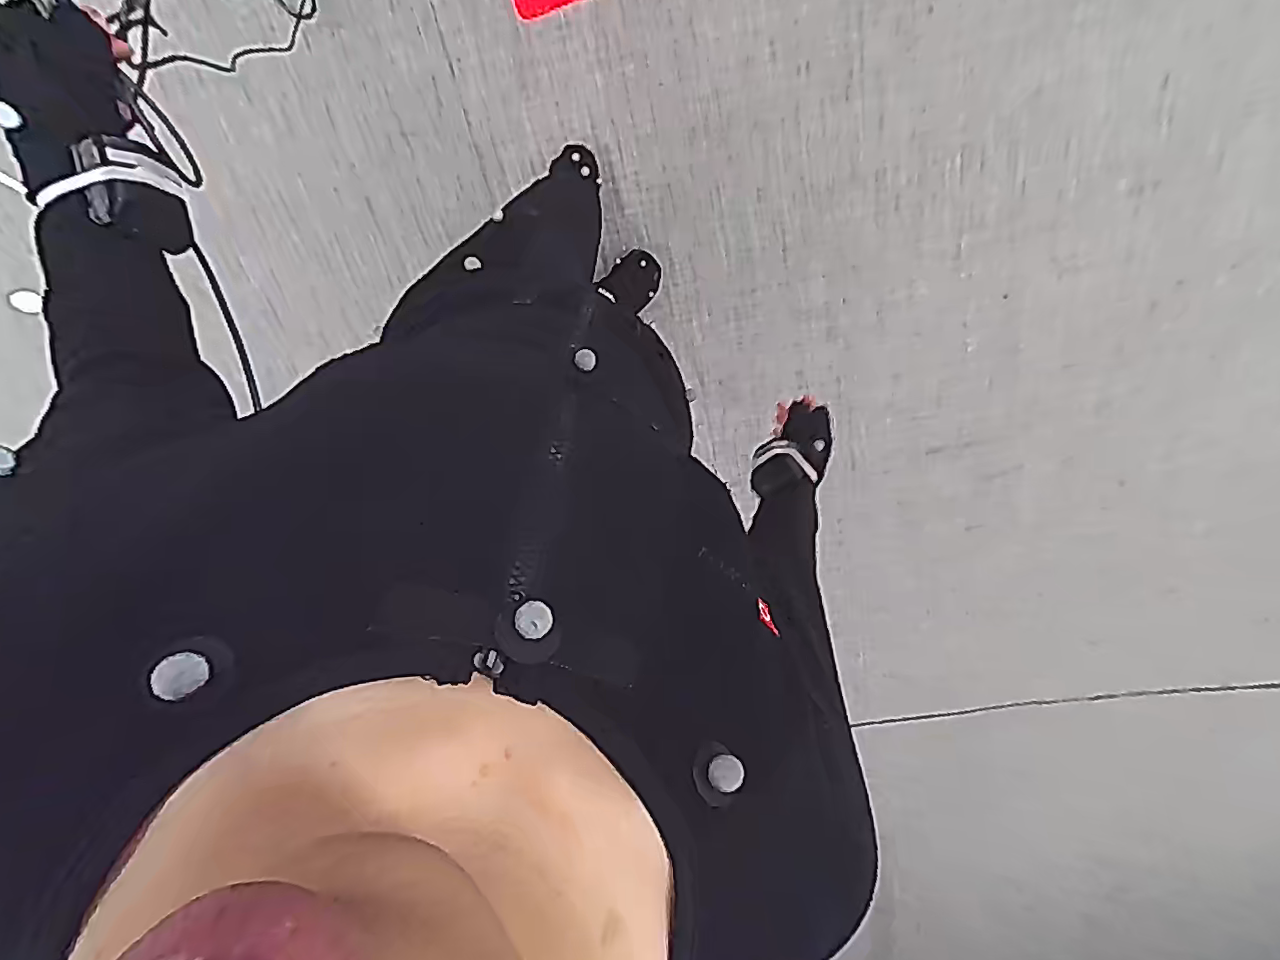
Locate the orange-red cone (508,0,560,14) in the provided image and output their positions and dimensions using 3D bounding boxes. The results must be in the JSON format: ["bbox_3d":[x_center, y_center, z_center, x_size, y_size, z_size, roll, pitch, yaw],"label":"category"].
[{"bbox_3d":[-0.187,-0.948,0.869,0.199,0.360,0.198,-14,116,8],"label":"orange-red cone"}]
